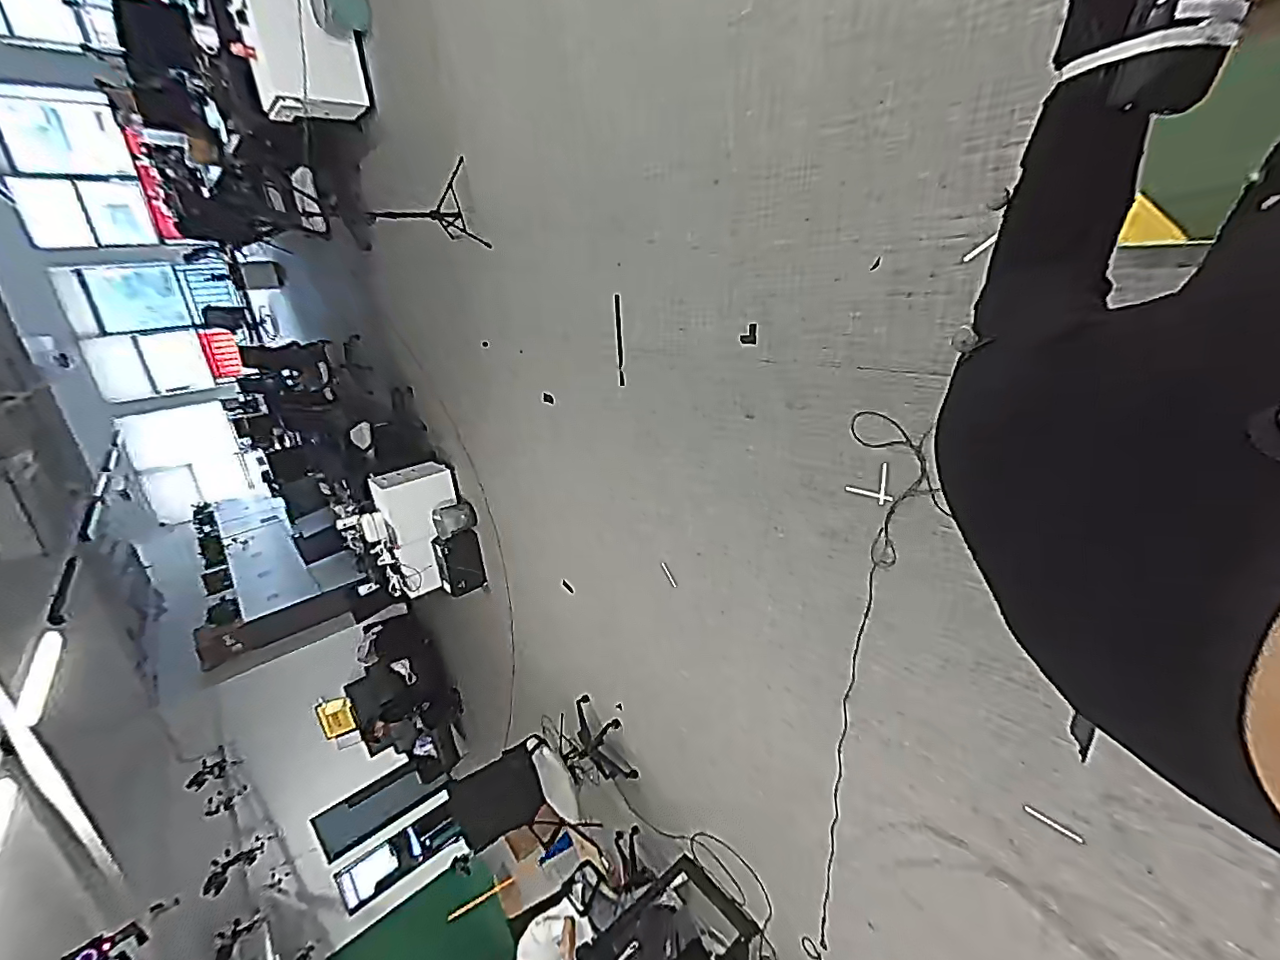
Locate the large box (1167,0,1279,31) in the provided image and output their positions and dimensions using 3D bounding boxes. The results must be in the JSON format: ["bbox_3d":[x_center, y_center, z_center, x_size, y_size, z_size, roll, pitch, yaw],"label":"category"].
[{"bbox_3d":[0.562,-0.498,0.259,0.408,0.320,0.320,12,124,47],"label":"large box"}]
